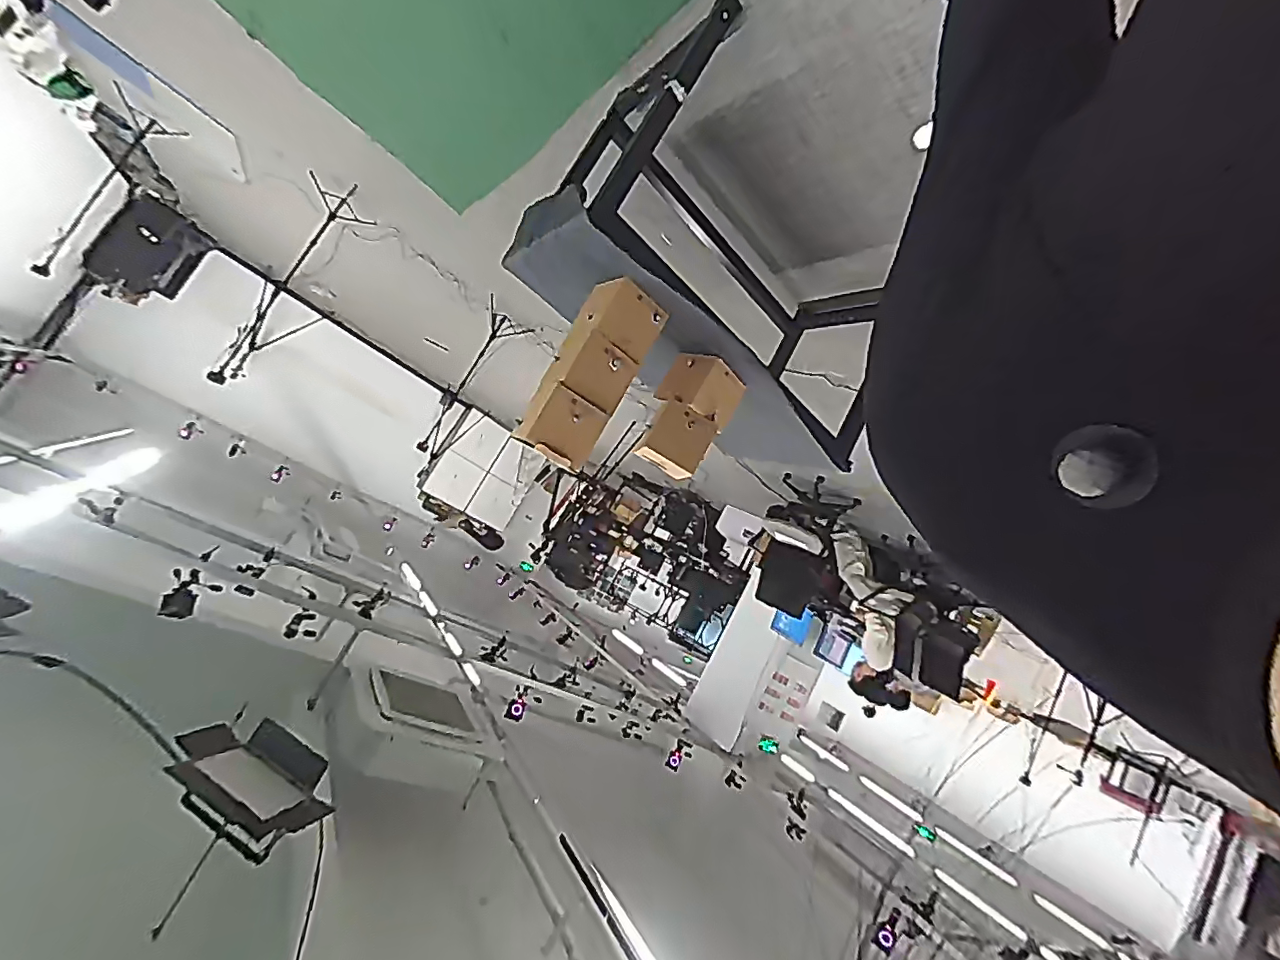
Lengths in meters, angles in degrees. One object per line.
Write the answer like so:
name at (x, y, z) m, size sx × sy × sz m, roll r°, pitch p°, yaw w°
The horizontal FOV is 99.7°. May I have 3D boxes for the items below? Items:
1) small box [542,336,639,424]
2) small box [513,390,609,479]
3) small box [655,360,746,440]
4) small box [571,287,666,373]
small box at (-0.130, -0.267, 1.451) m, size 0.168 × 0.176 × 0.179 m, roll 32°, pitch 171°, yaw -29°
small box at (-0.207, -0.123, 1.420) m, size 0.168 × 0.176 × 0.179 m, roll 31°, pitch 172°, yaw -26°
small box at (0.186, -0.246, 1.635) m, size 0.179 × 0.176 × 0.168 m, roll 21°, pitch 168°, yaw 48°
small box at (-0.053, -0.408, 1.477) m, size 0.168 × 0.176 × 0.179 m, roll 34°, pitch 172°, yaw -32°
